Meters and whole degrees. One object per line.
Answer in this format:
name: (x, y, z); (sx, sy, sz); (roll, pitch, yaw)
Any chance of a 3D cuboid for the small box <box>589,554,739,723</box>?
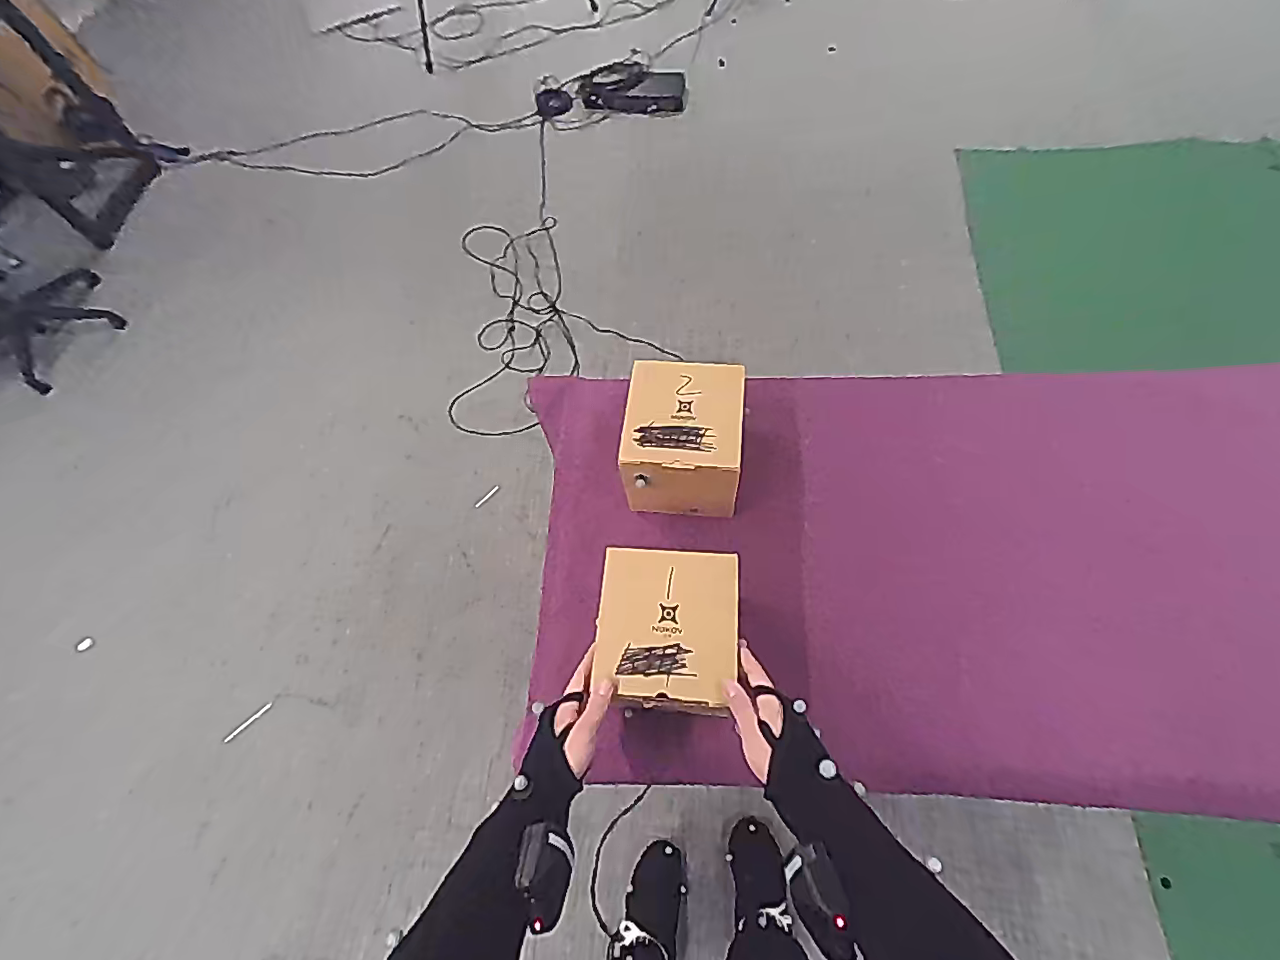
small box: (0.038, 0.209, 0.696); (0.168, 0.176, 0.179); (3, 62, 6)
